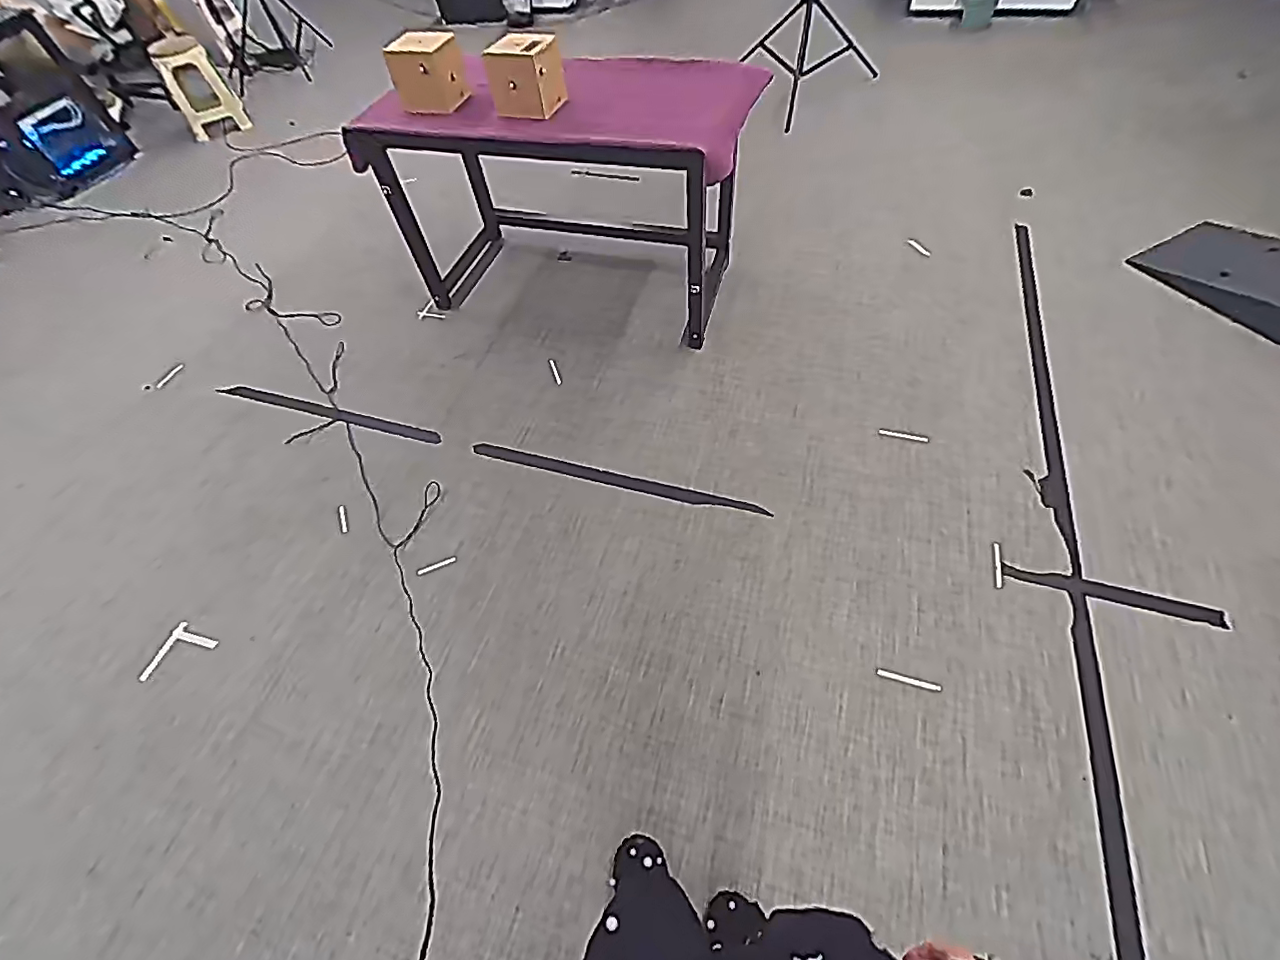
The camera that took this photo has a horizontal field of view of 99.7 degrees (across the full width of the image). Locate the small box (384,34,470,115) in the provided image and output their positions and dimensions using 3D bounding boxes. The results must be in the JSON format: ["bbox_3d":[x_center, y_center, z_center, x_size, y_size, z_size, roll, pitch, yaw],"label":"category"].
[{"bbox_3d":[-0.675,-1.301,1.740,0.179,0.176,0.168,10,55,12],"label":"small box"}]
